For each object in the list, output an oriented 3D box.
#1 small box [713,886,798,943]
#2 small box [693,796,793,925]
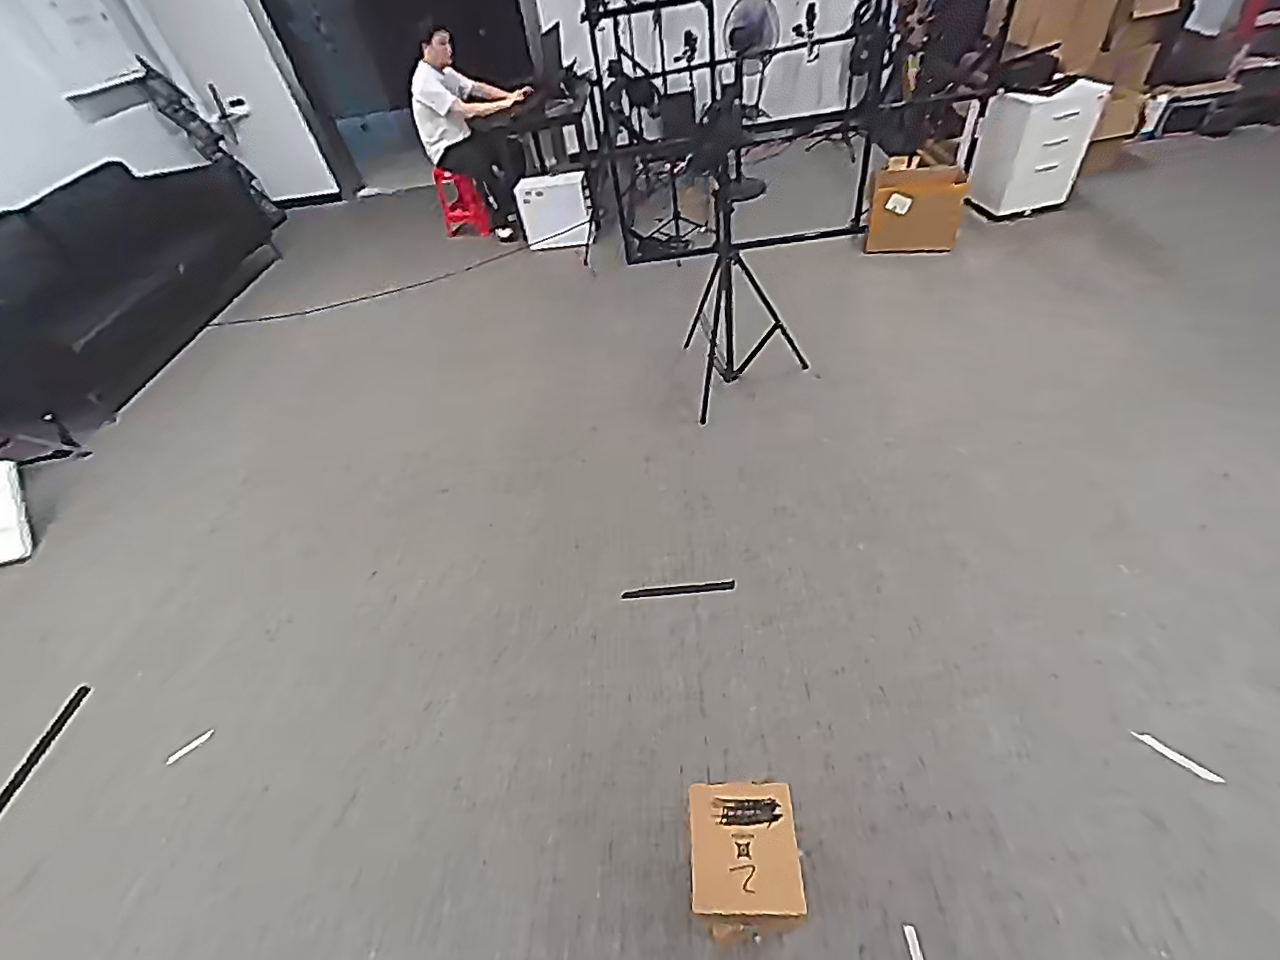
[{"bbox_3d":[0.217,0.839,1.137,0.168,0.176,0.179,-14,45,-2],"label":"small box"},{"bbox_3d":[0.188,0.722,1.026,0.168,0.176,0.179,-5,46,6],"label":"small box"}]
